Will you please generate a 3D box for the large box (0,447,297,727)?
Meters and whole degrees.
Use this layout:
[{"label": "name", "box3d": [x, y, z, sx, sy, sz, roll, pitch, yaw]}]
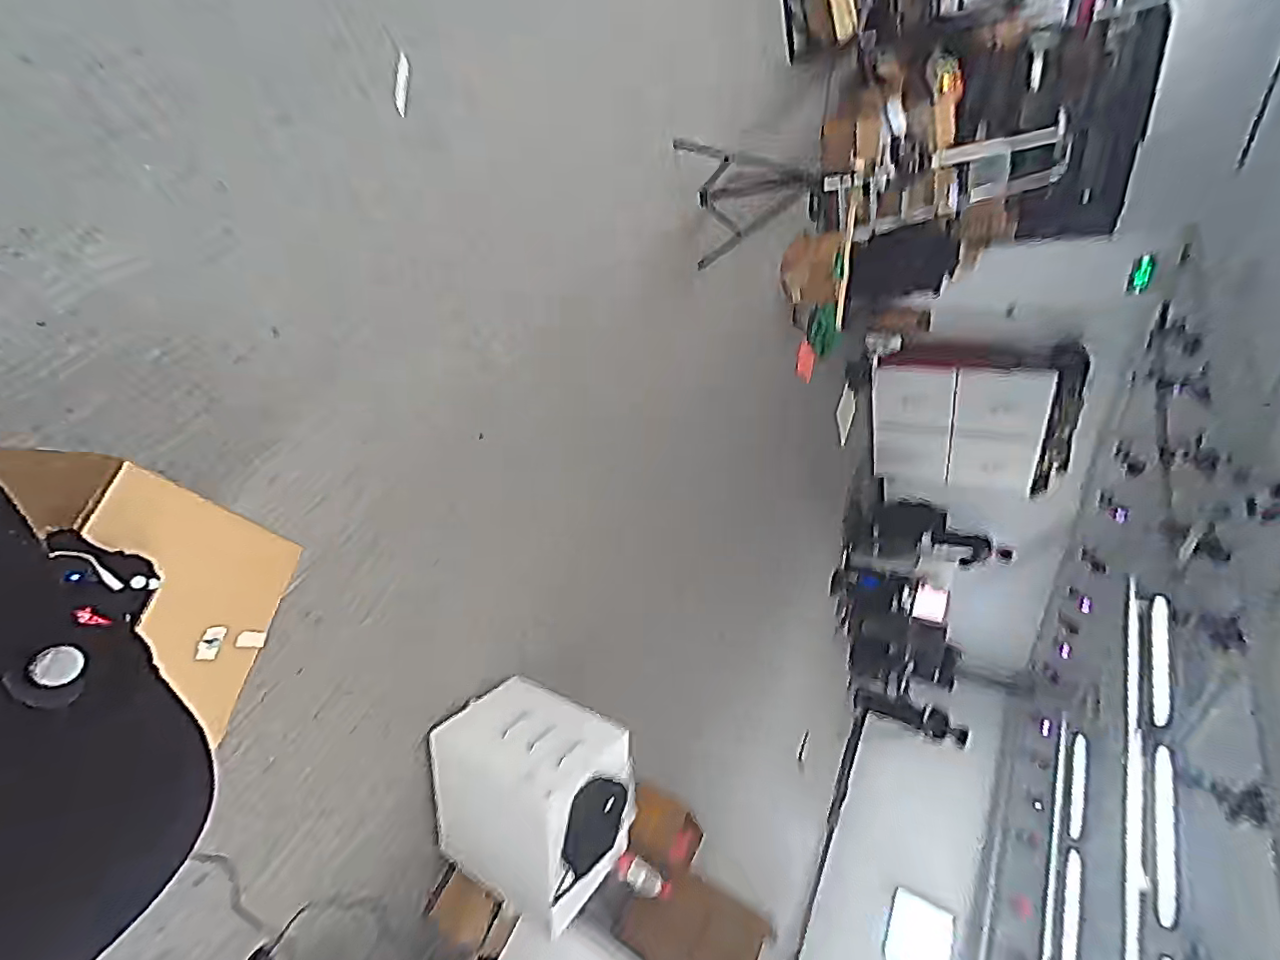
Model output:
[{"label": "large box", "box3d": [-0.804, 0.158, 0.758, 0.320, 0.408, 0.320, 70, 26, -62]}]
